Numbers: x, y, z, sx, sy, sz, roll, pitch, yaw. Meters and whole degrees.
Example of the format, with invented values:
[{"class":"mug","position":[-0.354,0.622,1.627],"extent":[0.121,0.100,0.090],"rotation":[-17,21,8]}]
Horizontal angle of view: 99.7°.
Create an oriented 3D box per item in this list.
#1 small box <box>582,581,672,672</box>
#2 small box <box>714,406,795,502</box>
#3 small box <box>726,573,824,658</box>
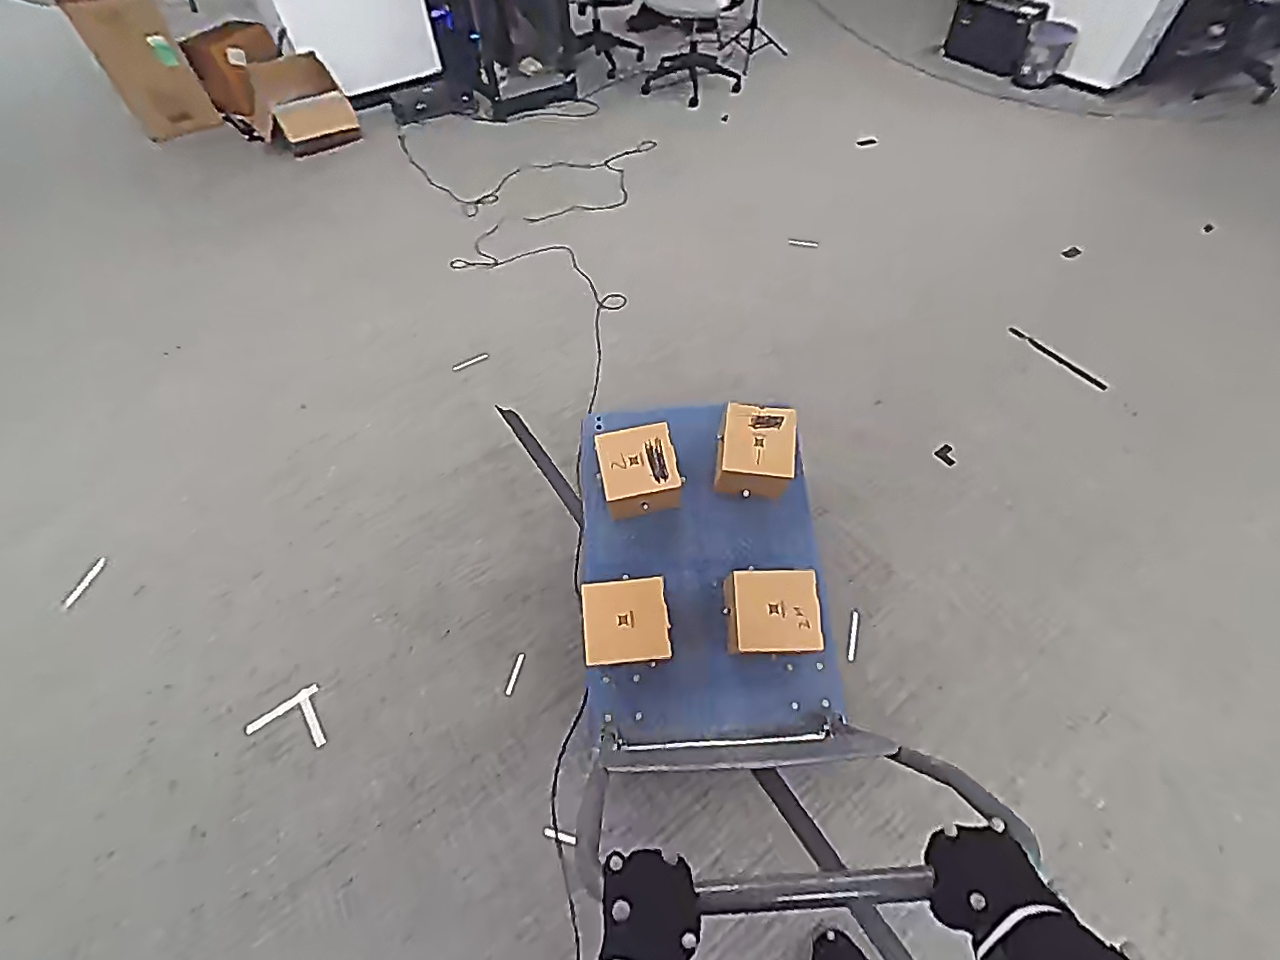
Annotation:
[{"class":"small box","position":[-0.029,0.326,1.186],"extent":[0.179,0.176,0.168],"rotation":[-6,70,-4]},{"class":"small box","position":[0.275,-0.060,1.325],"extent":[0.168,0.176,0.179],"rotation":[6,71,3]},{"class":"small box","position":[0.287,0.302,1.191],"extent":[0.179,0.176,0.168],"rotation":[-1,70,0]}]
